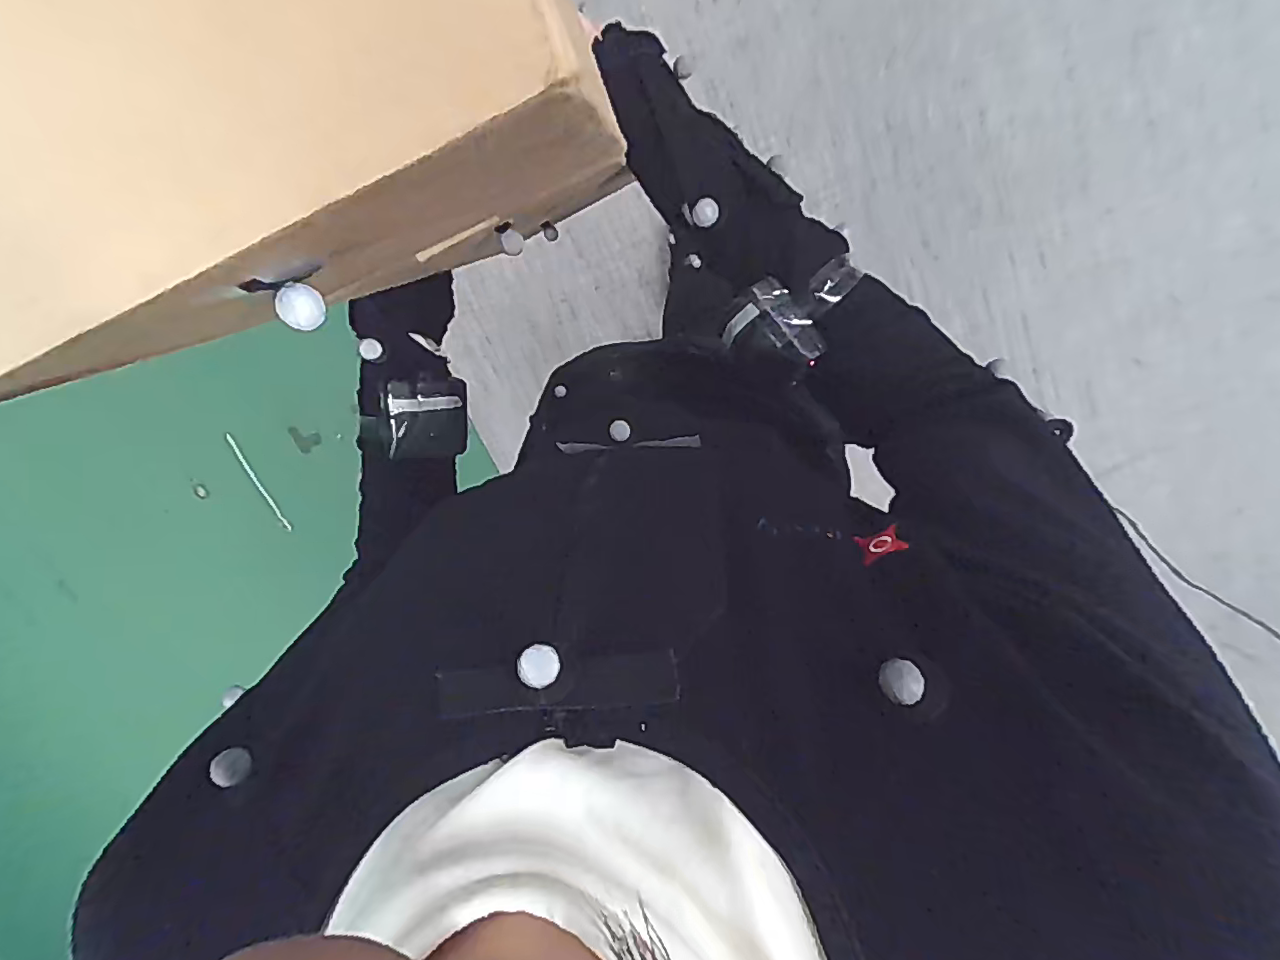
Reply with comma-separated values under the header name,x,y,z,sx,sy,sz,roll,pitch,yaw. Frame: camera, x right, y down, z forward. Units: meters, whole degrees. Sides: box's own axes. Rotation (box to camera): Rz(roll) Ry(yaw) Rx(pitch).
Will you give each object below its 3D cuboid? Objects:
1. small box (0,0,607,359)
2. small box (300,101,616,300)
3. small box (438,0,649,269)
name,x,y,z,sx,sy,sz,roll,pitch,yaw
small box,-0.121,-0.145,0.138,0.179,0.176,0.168,-20,116,11
small box,-0.122,-0.222,0.282,0.168,0.176,0.179,-22,115,13
small box,-0.107,-0.293,0.428,0.179,0.176,0.168,-25,113,13
